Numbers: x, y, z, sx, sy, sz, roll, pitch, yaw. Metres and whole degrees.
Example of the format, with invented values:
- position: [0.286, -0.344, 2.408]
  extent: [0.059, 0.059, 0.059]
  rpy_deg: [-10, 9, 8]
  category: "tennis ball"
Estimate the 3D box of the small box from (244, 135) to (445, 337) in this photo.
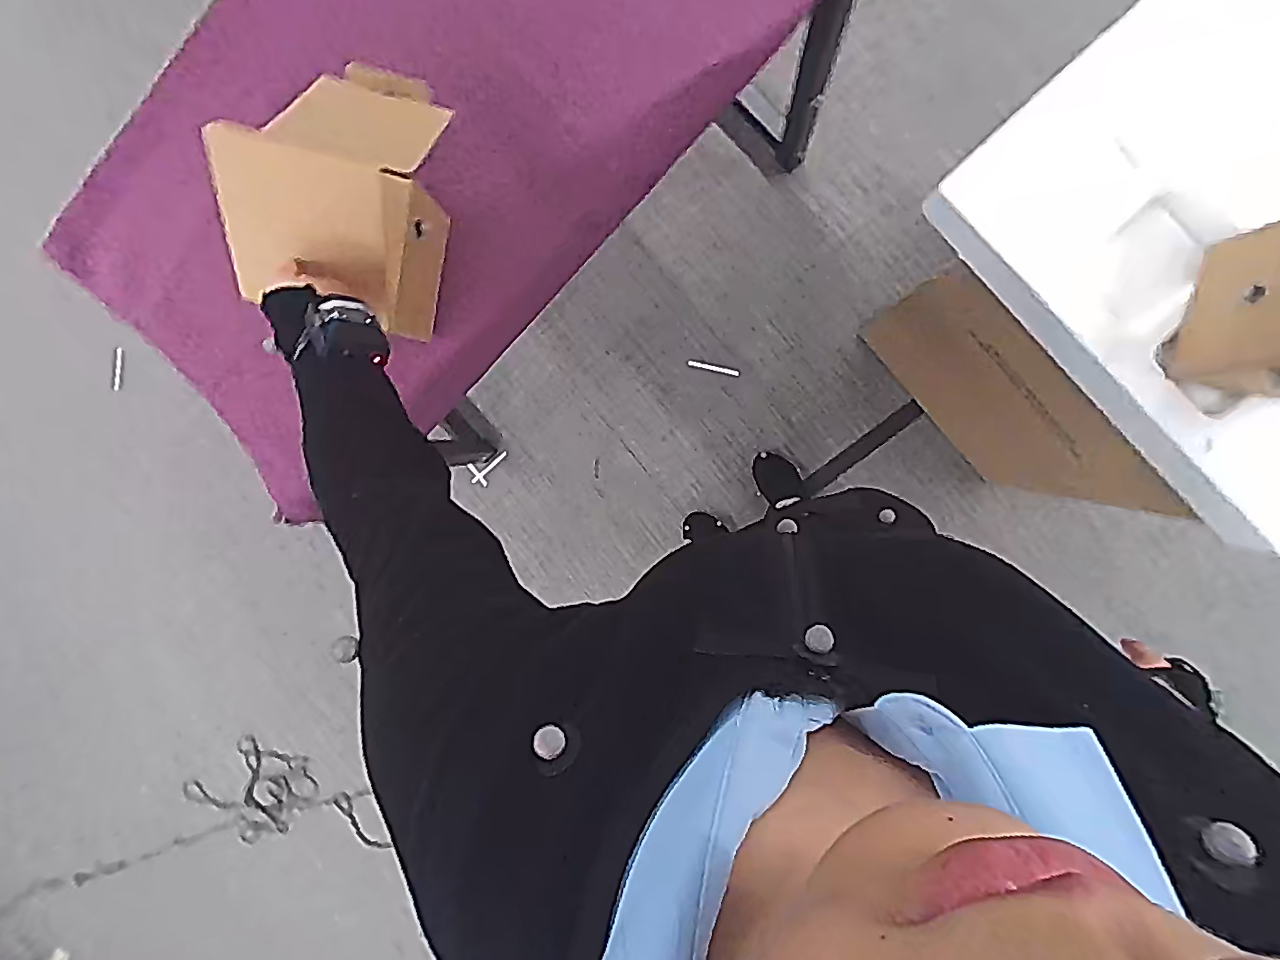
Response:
- position: [-0.359, -0.292, 0.688]
  extent: [0.168, 0.176, 0.179]
  rpy_deg: [10, 98, -6]
  category: "small box"
